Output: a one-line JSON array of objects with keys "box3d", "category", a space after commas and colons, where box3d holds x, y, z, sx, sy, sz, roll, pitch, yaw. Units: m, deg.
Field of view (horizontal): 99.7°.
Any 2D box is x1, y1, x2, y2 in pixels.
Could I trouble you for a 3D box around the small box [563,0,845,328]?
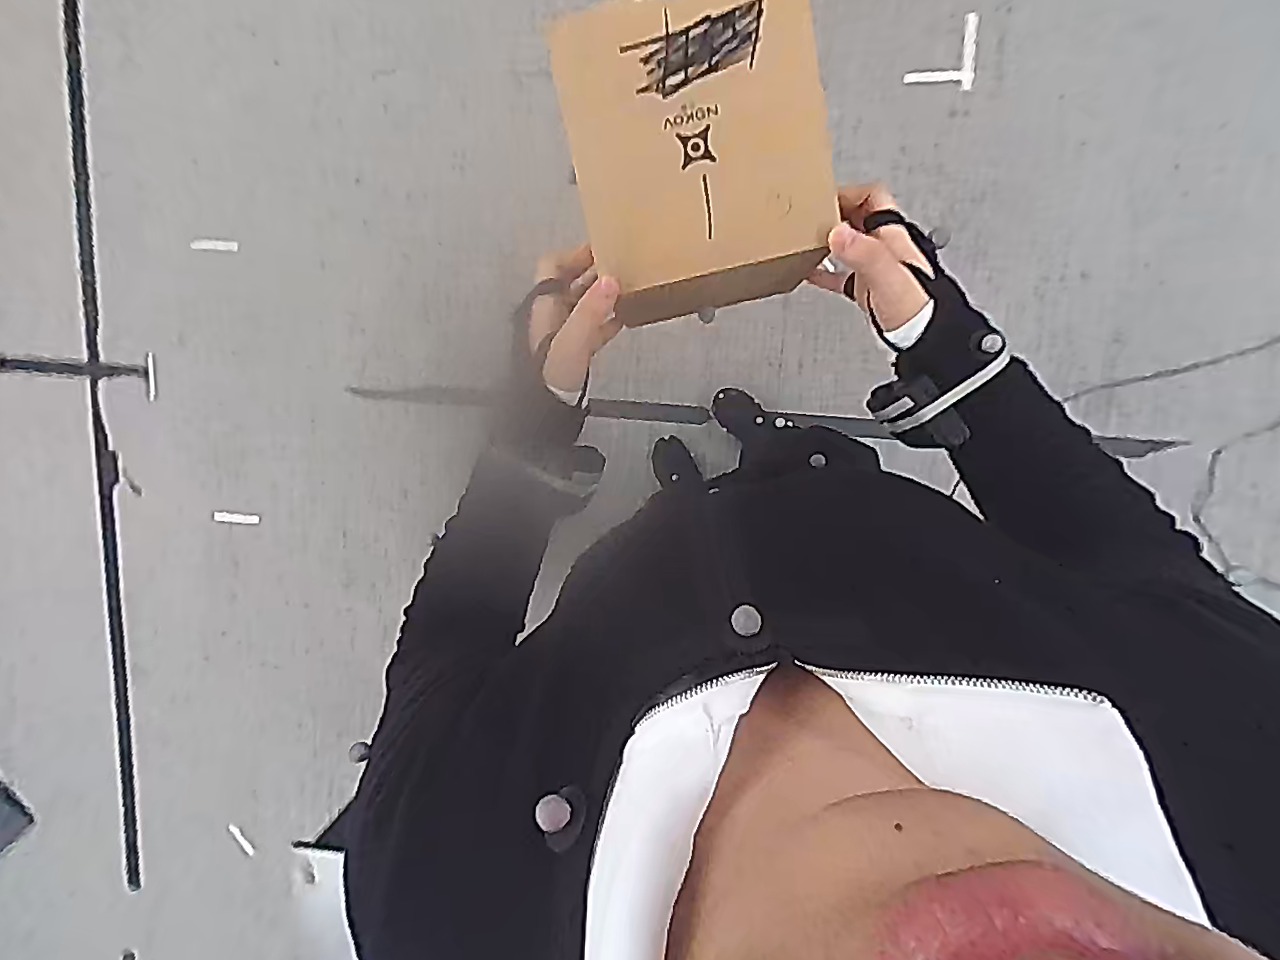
[{"box3d": [0.047, -0.234, 0.435, 0.168, 0.176, 0.179, -10, 98, 6], "category": "small box"}]
